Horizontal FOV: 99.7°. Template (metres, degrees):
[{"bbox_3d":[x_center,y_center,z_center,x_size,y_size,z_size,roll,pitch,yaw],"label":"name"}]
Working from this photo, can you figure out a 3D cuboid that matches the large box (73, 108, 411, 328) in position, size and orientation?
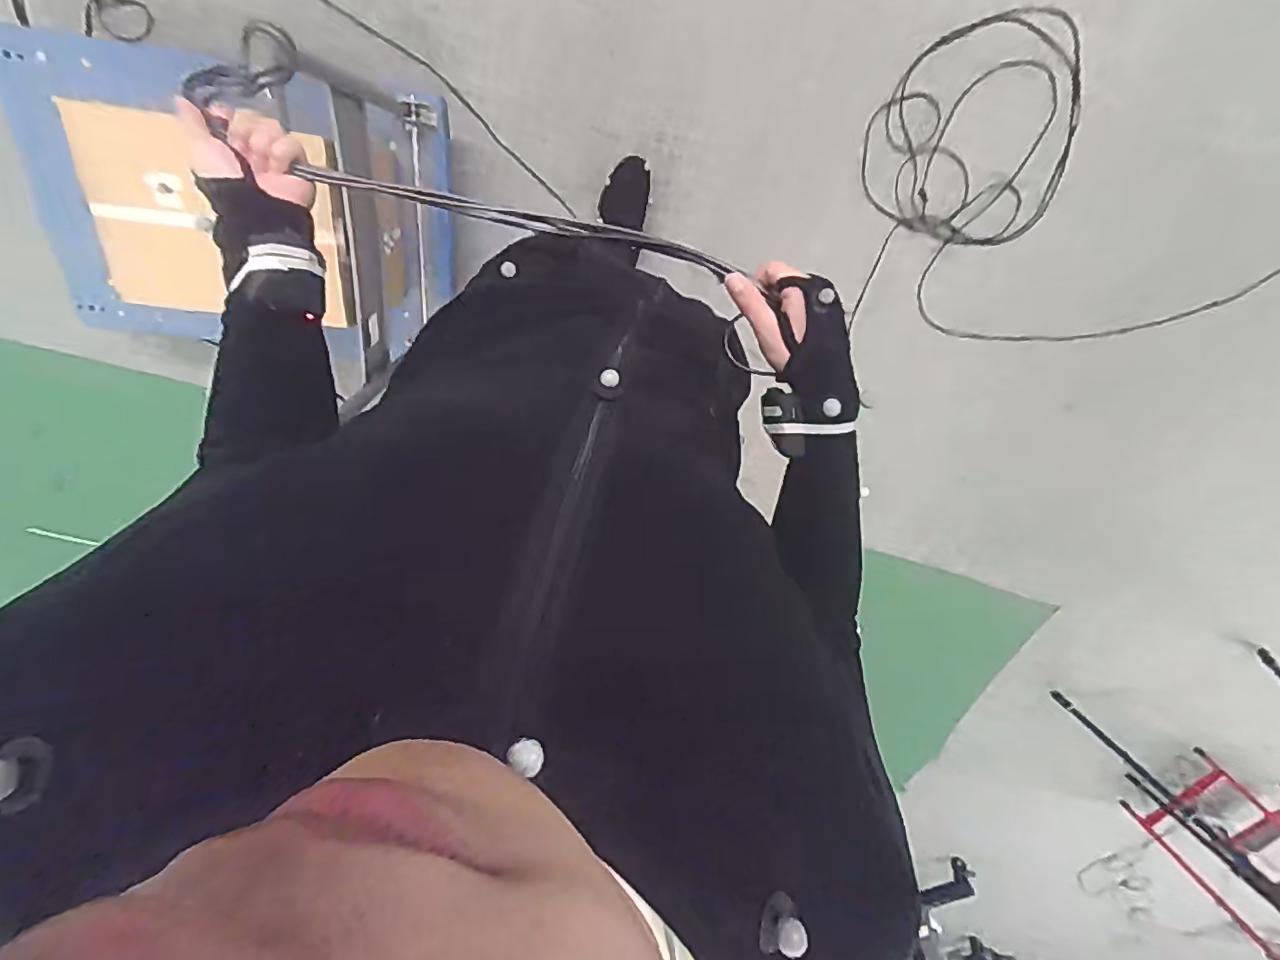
[{"bbox_3d":[-0.719,-0.506,1.066,0.408,0.320,0.320,6,117,-4],"label":"large box"}]
